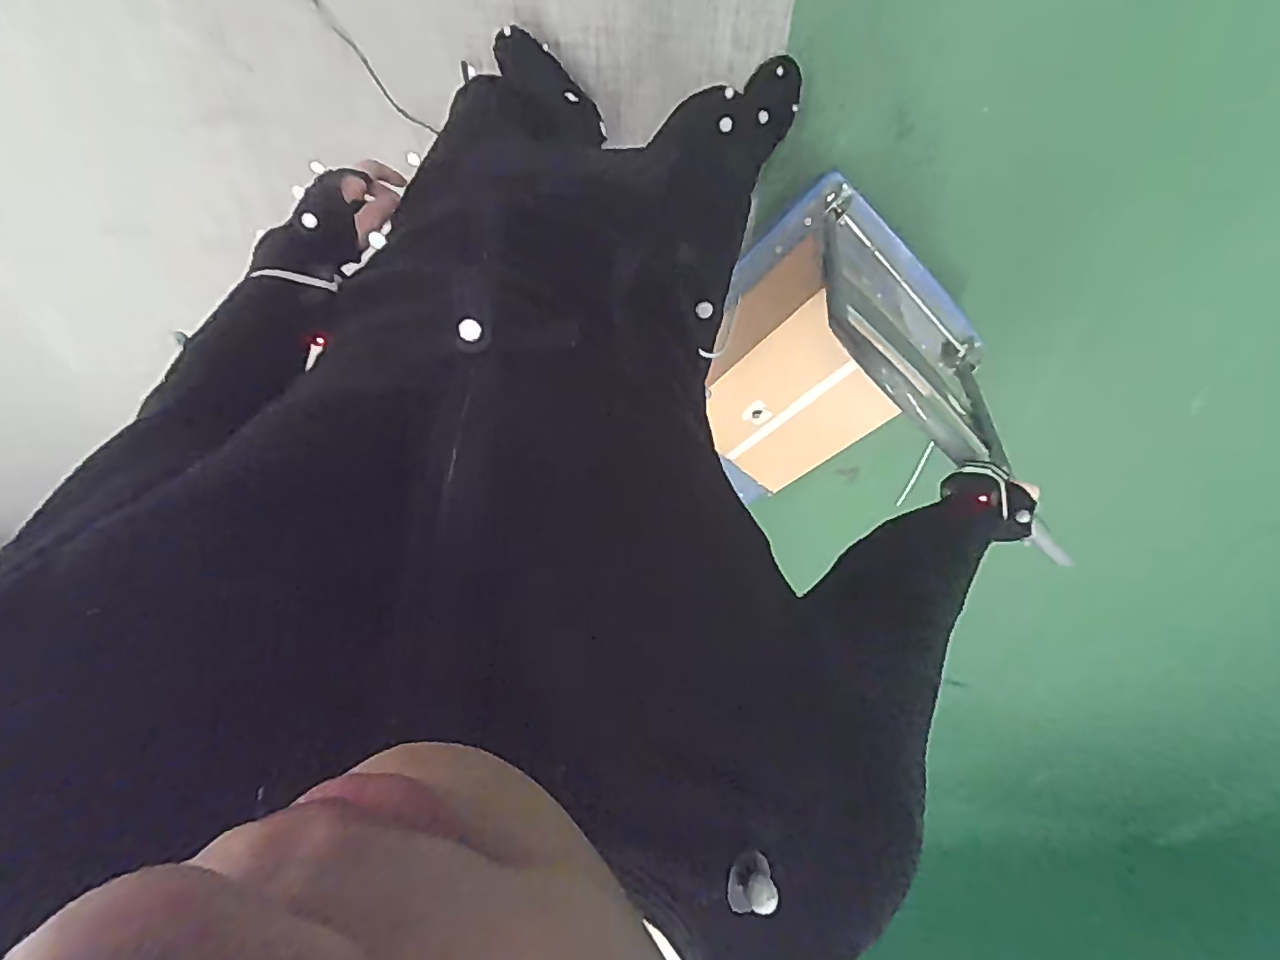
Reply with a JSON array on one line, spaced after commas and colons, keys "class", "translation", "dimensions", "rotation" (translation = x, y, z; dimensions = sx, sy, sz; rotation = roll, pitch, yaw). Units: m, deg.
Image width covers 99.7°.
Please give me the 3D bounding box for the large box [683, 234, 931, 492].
[{"class": "large box", "translation": [0.352, -0.253, 1.214], "dimensions": [0.320, 0.320, 0.408], "rotation": [36, 130, -18]}]
